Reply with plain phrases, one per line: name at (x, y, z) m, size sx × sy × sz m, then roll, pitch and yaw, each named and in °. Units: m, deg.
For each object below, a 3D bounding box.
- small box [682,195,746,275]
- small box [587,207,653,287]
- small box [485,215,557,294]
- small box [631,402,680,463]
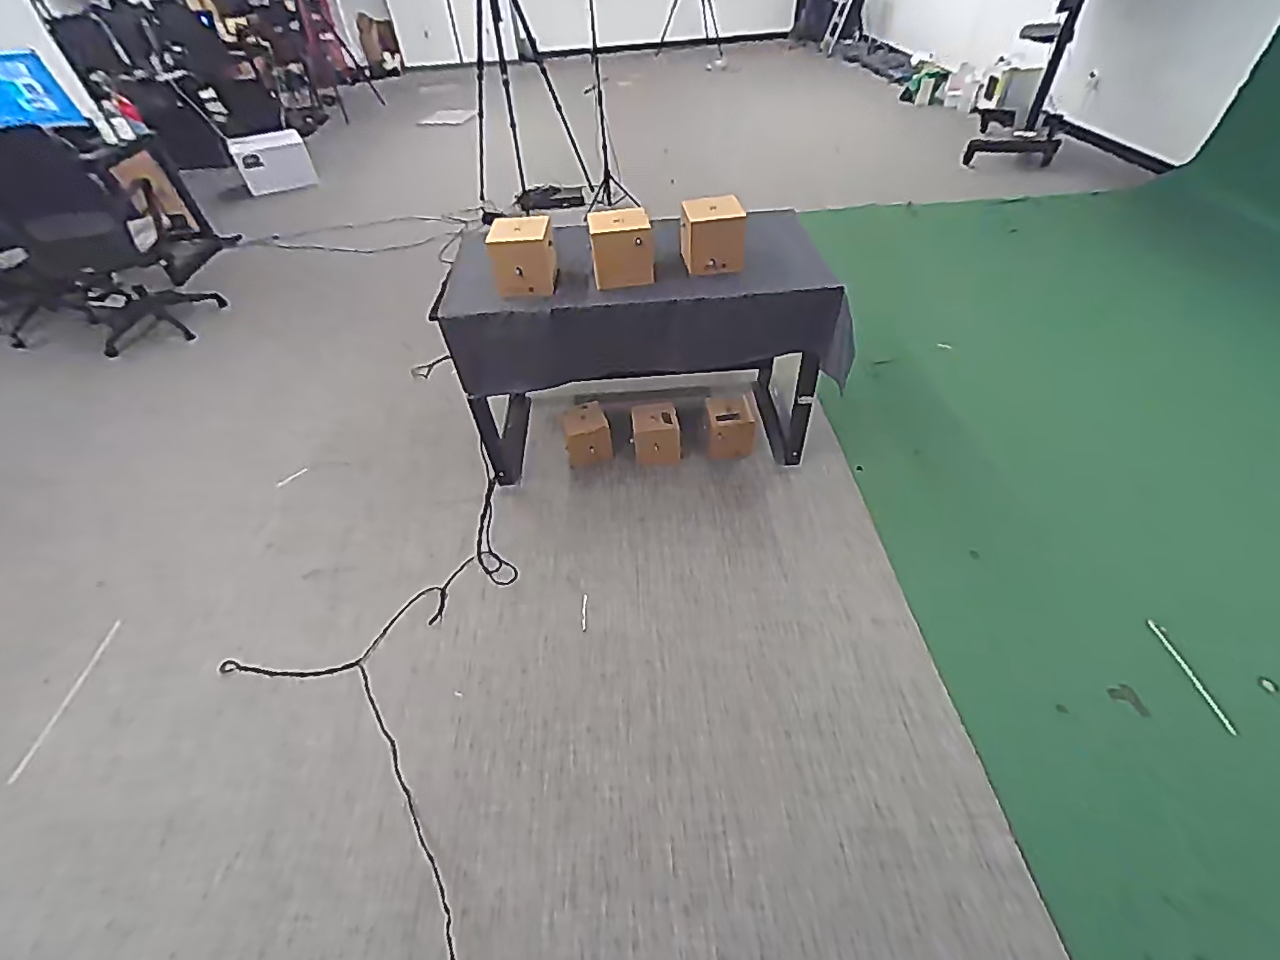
small box at (0.219, -0.743, 1.640) m, size 0.168 × 0.176 × 0.179 m, roll -7°, pitch 46°, yaw 0°
small box at (-0.058, -0.693, 1.616) m, size 0.179 × 0.176 × 0.168 m, roll -7°, pitch 46°, yaw -3°
small box at (-0.346, -0.667, 1.609) m, size 0.168 × 0.176 × 0.179 m, roll -2°, pitch 46°, yaw 1°
small box at (0.061, -0.185, 2.125) m, size 0.179 × 0.176 × 0.168 m, roll -6°, pitch 46°, yaw 0°
